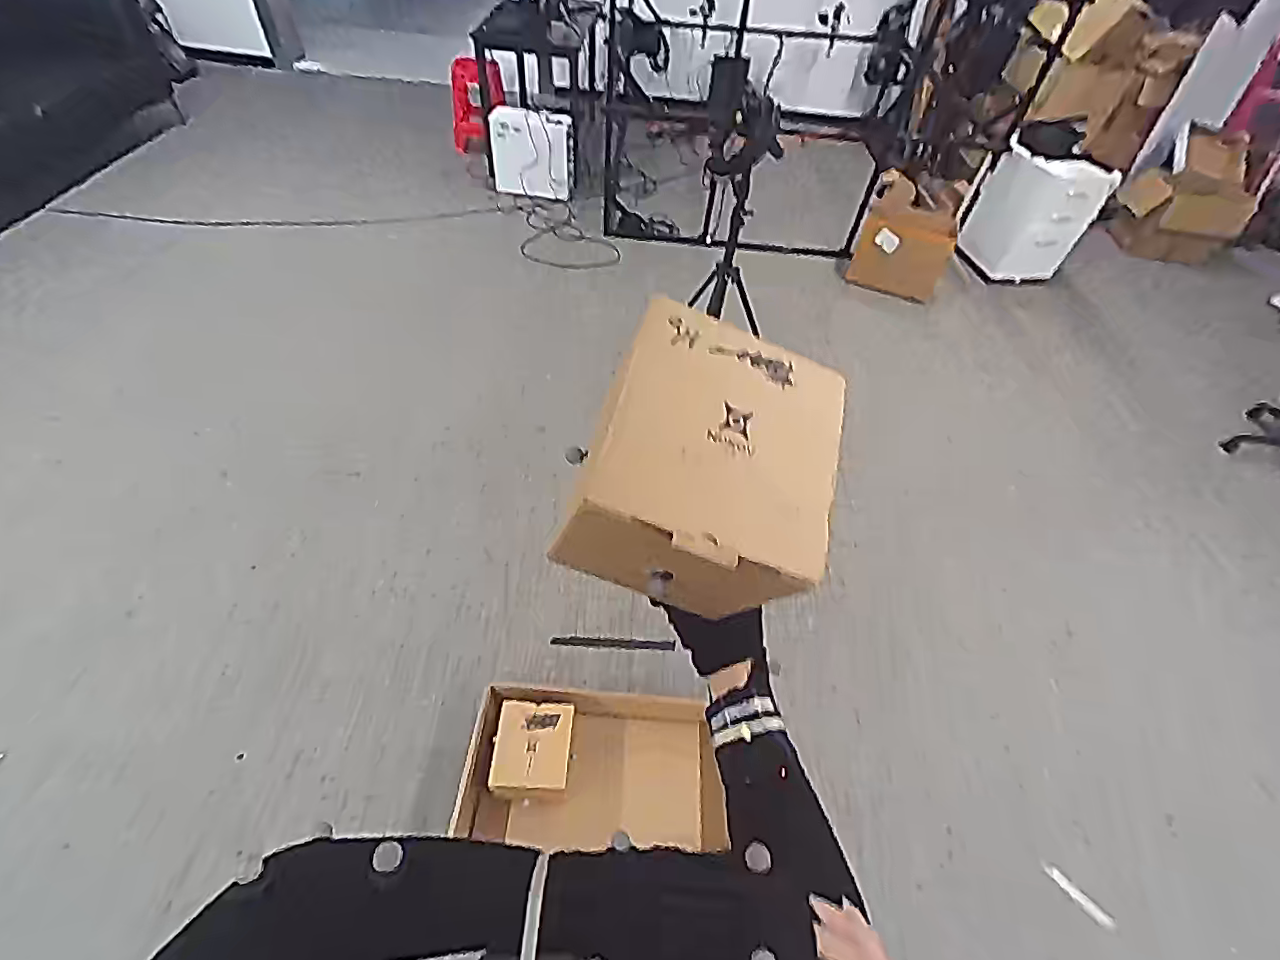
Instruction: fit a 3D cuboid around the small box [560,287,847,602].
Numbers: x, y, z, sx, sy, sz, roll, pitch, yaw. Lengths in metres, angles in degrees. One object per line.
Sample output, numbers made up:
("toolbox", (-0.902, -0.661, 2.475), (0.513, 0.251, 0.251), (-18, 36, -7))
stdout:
("small box", (0.041, -0.012, 0.444), (0.168, 0.176, 0.179), (21, 65, -9))
